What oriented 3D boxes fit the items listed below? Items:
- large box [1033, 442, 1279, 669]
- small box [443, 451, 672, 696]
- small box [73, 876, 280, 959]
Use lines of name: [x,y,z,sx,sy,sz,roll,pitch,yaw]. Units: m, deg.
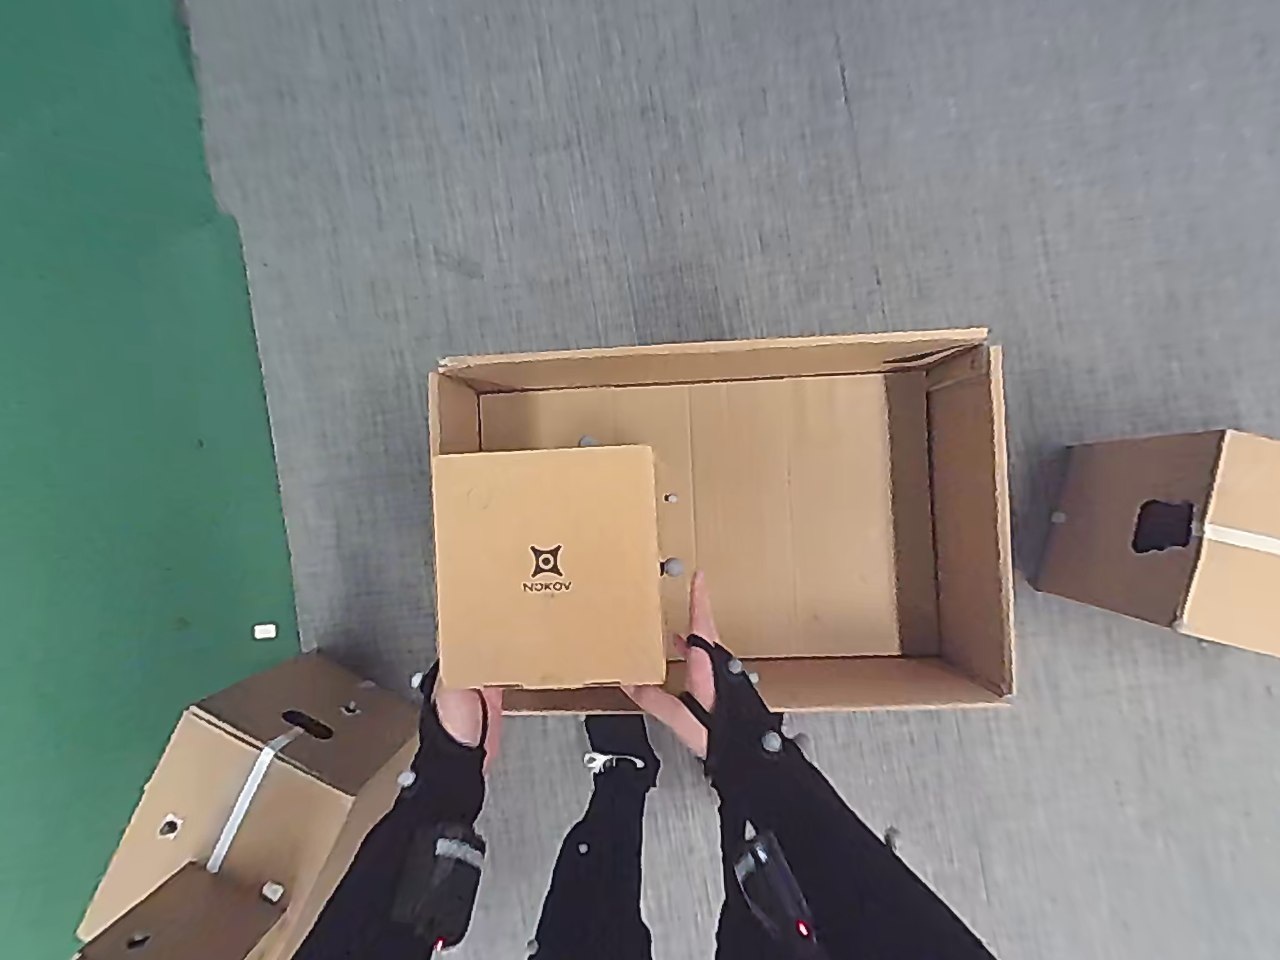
large box: [1.016,0.137,0.941,0.408,0.320,0.320,14,89,3]
small box: [-0.059,0.070,0.473,0.168,0.176,0.179,-2,90,3]
small box: [-0.658,0.701,0.747,0.179,0.176,0.168,26,90,1]
